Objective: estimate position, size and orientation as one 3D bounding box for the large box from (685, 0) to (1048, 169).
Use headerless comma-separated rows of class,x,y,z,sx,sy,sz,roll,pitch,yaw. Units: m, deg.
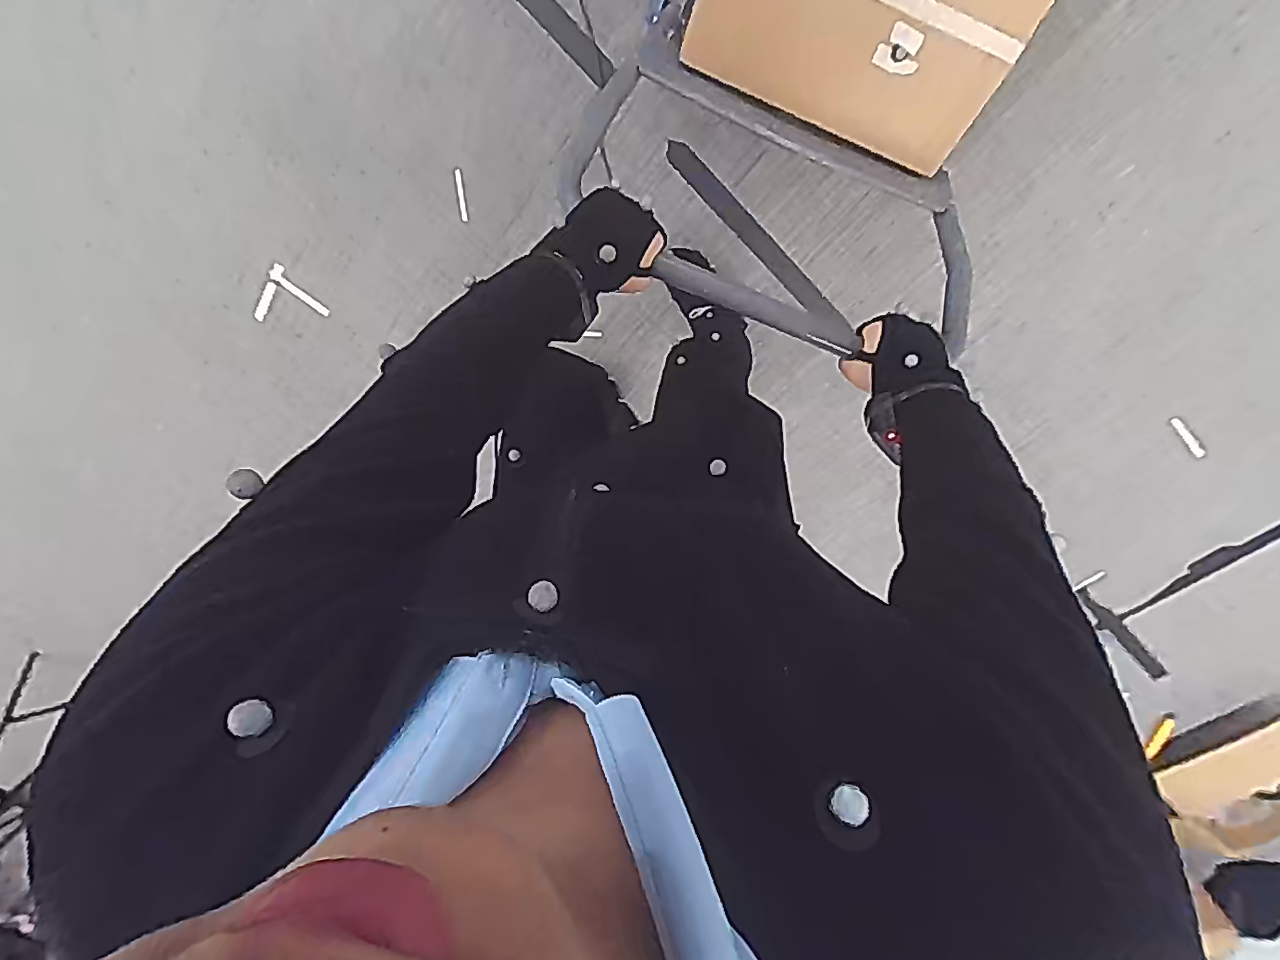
large box,0.316,-0.722,0.765,0.408,0.320,0.320,20,140,-7
